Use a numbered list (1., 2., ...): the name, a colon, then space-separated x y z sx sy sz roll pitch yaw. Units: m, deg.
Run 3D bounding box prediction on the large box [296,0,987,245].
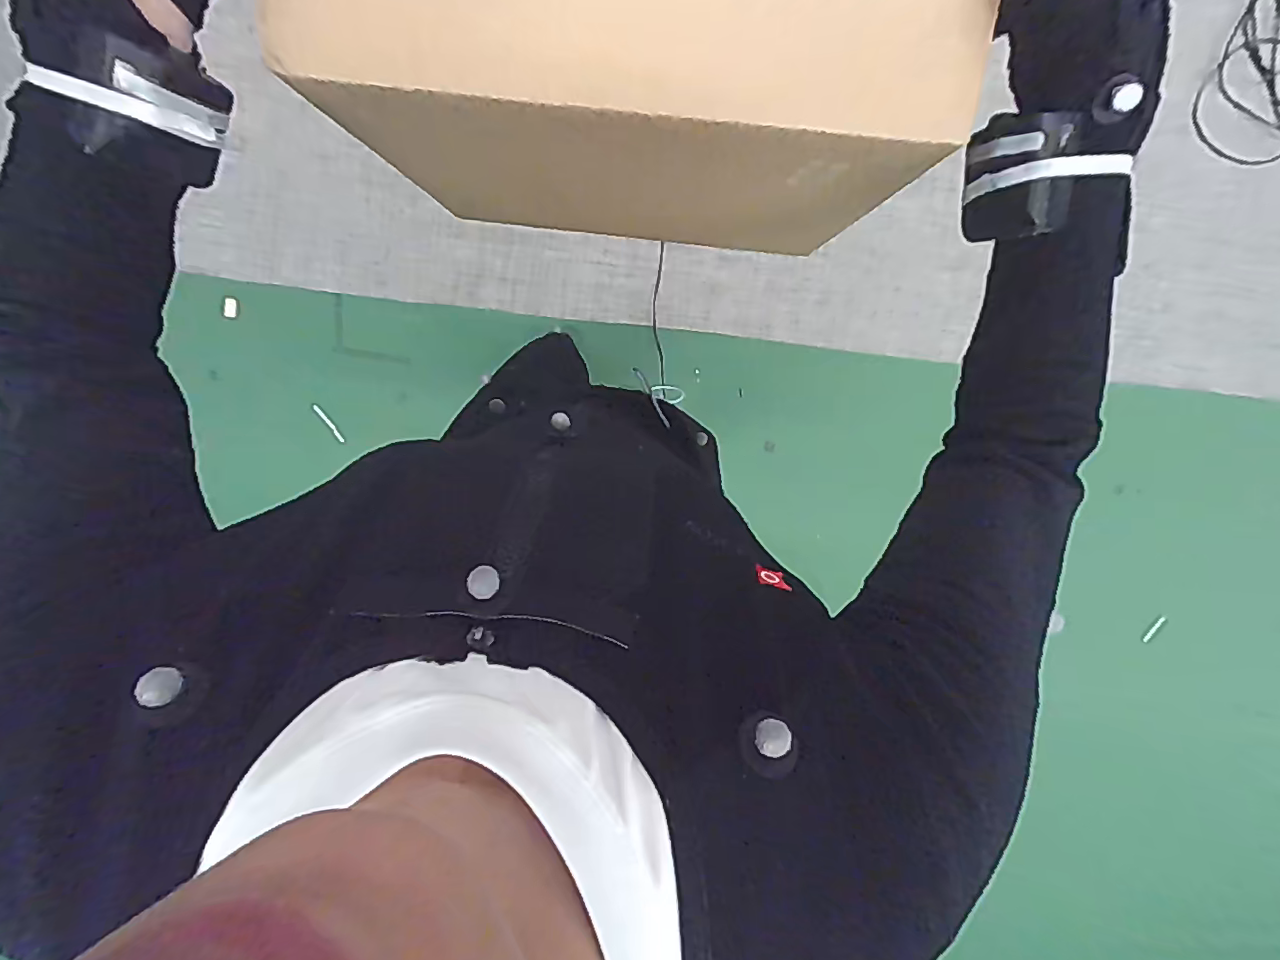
1. large box: 0.009 -0.399 0.437 0.408 0.320 0.320 5 102 0
